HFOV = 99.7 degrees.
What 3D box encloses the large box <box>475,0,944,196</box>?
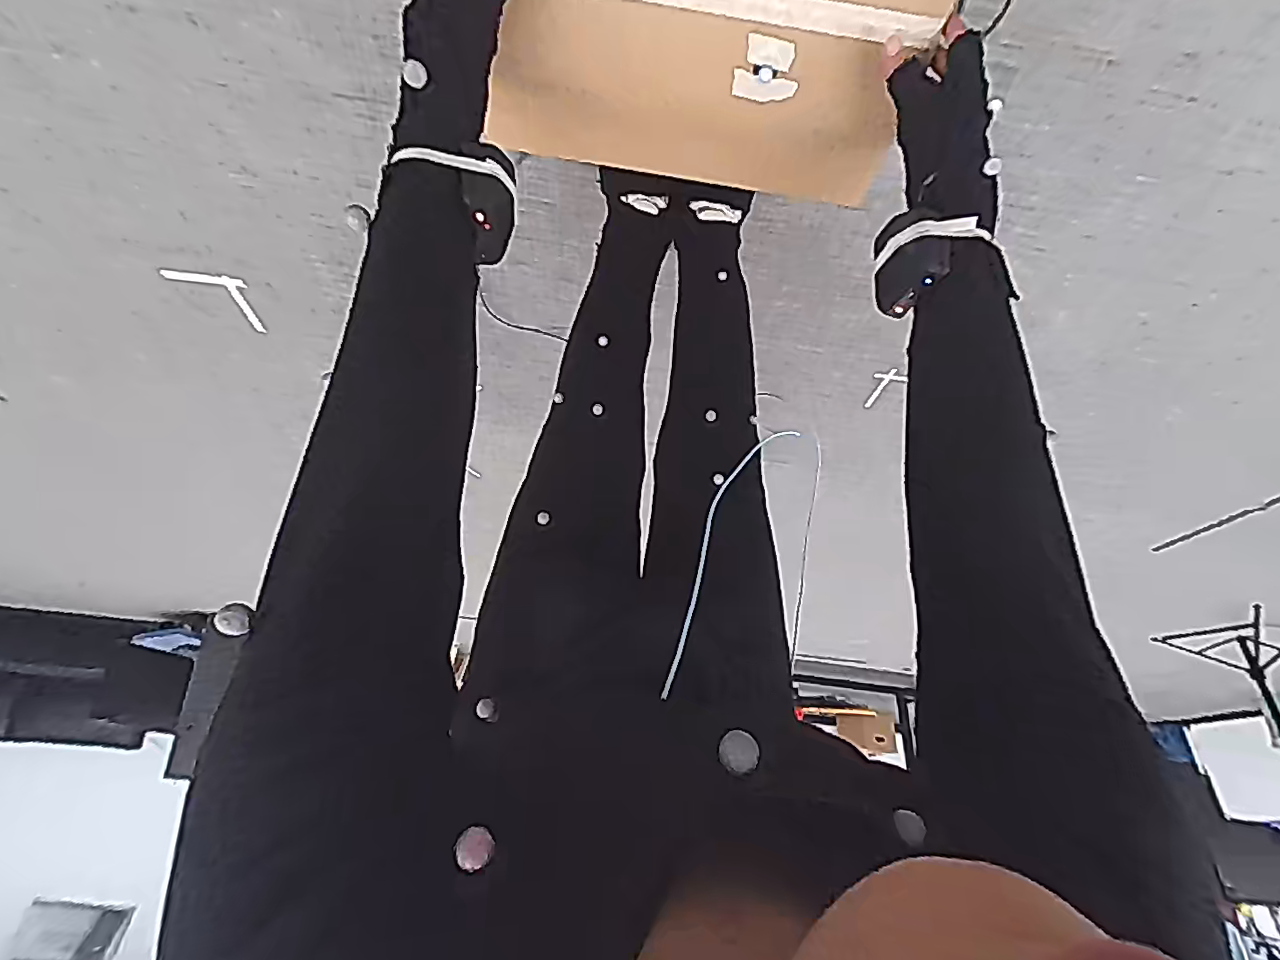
[{"bbox_3d":[0.066,-0.539,0.534,0.408,0.320,0.320,8,149,-2],"label":"large box"}]
